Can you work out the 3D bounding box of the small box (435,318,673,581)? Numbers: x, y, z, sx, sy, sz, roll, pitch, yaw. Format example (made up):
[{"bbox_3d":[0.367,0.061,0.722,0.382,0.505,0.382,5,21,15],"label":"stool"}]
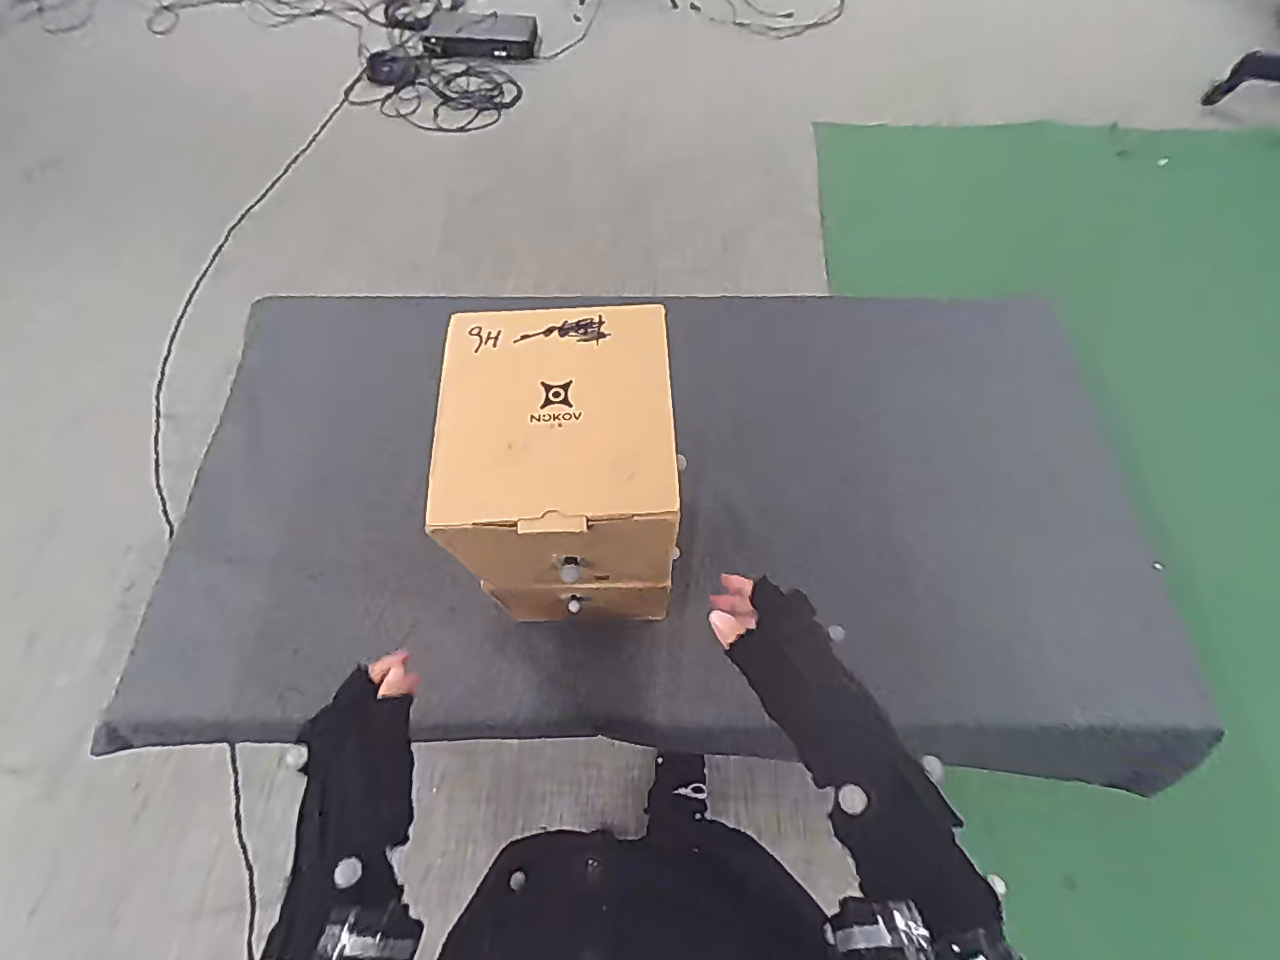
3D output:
[{"bbox_3d":[-0.058,-0.013,0.466,0.168,0.176,0.179,-3,66,0],"label":"small box"}]

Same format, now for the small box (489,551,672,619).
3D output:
[{"bbox_3d":[-0.057,0.061,0.613,0.179,0.176,0.168,-1,66,-2],"label":"small box"}]
